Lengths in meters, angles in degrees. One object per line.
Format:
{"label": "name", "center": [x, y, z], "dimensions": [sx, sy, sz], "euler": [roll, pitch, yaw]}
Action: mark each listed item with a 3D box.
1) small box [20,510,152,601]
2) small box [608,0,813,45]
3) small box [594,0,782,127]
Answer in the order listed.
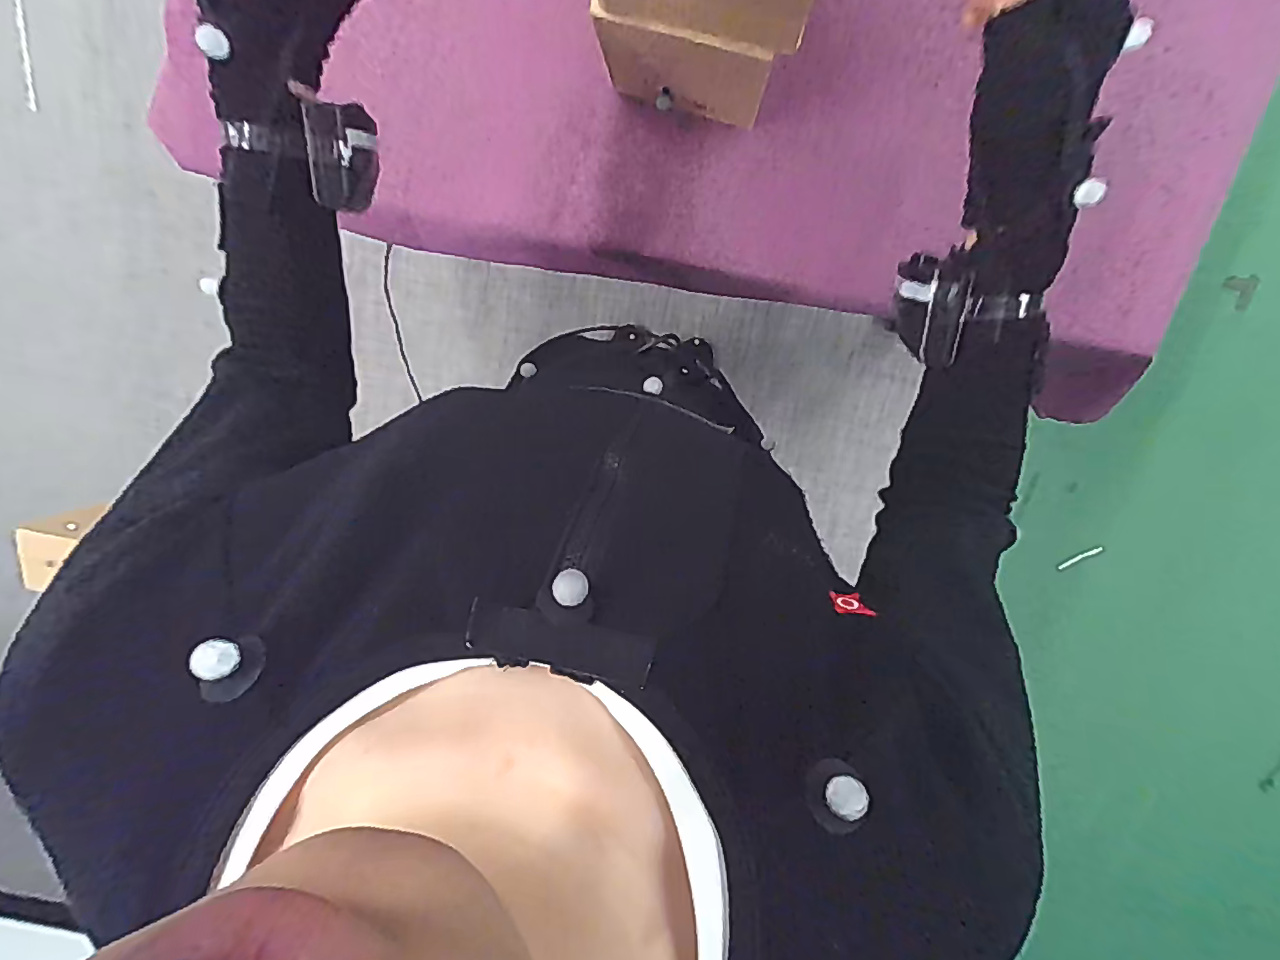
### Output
{"label": "small box", "center": [-1.416, 0.188, 1.400], "dimensions": [0.179, 0.176, 0.168], "euler": [10, 106, 2]}
{"label": "small box", "center": [0.059, -0.434, 0.357], "dimensions": [0.179, 0.176, 0.168], "euler": [14, 106, 1]}
{"label": "small box", "center": [0.065, -0.477, 0.513], "dimensions": [0.168, 0.176, 0.179], "euler": [16, 107, 1]}
